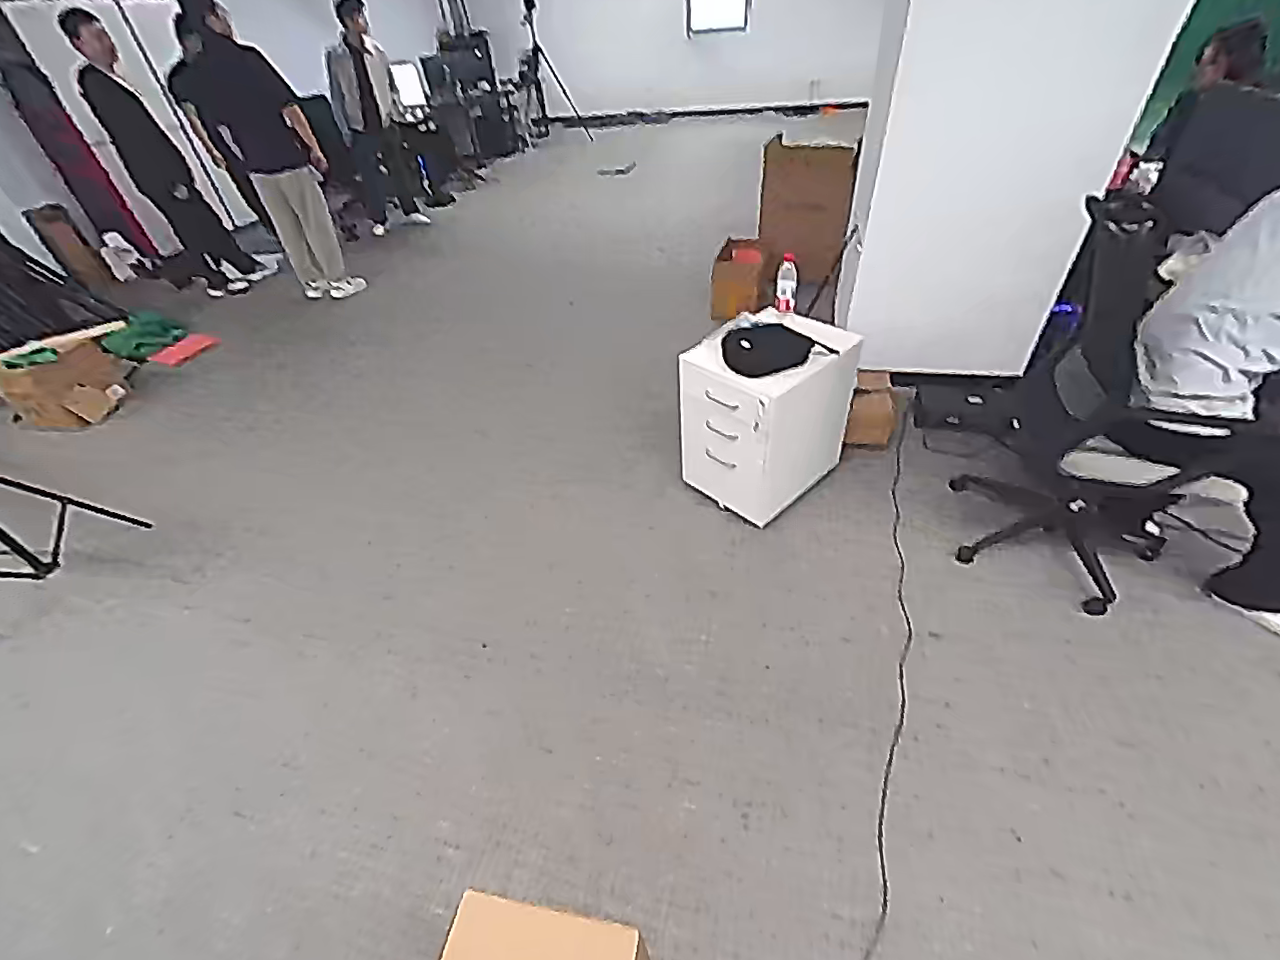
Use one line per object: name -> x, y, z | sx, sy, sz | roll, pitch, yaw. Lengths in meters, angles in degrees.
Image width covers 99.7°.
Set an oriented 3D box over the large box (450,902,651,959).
large box -> -0.158, 0.971, 0.923 | 0.320, 0.408, 0.320 | 5, 44, 11
